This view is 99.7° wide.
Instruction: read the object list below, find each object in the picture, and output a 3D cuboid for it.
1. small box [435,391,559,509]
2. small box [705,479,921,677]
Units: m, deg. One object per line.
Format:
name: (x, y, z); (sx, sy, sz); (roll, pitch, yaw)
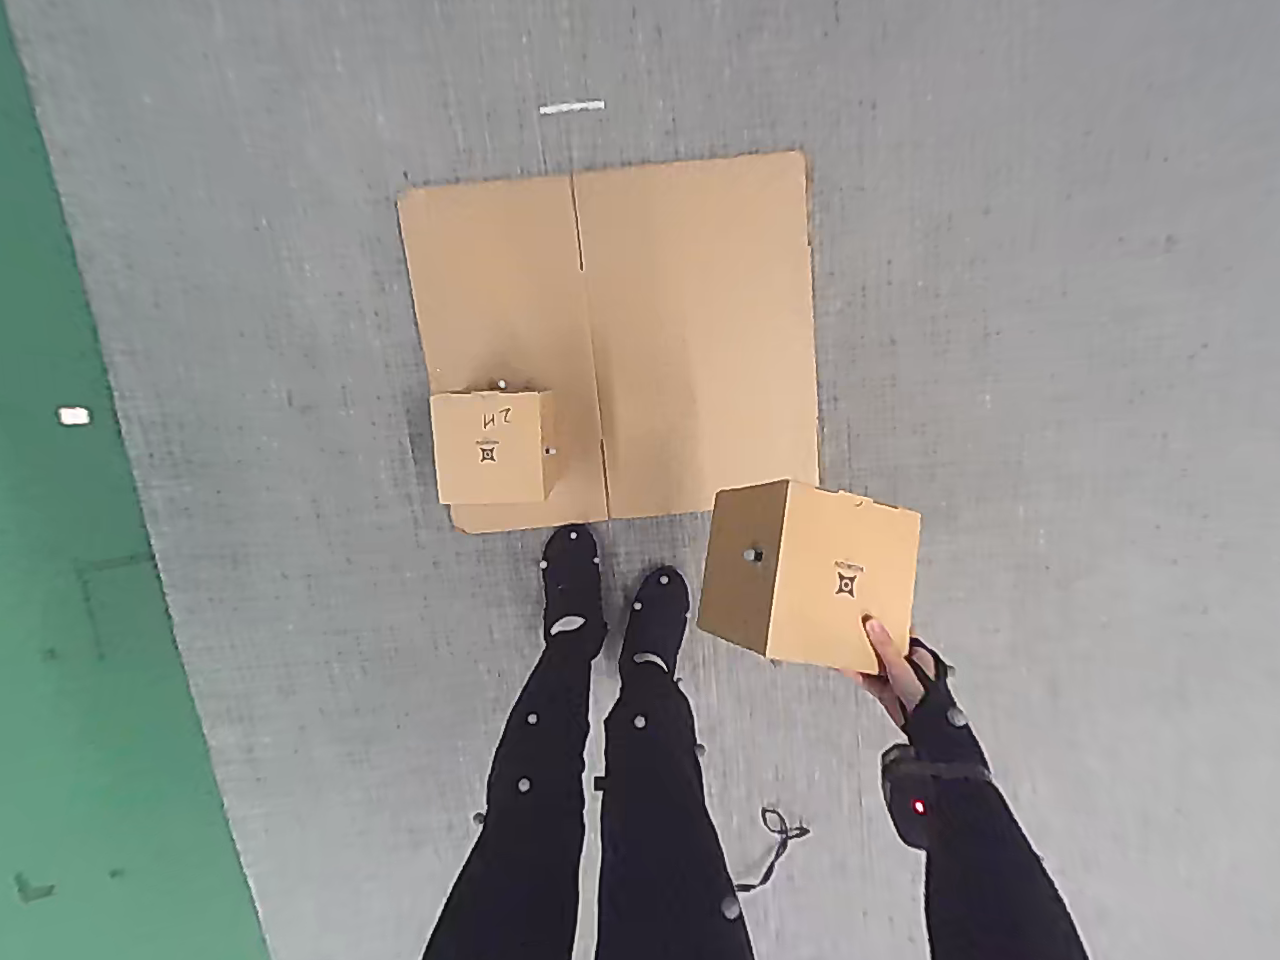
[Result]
small box: (-0.228, -0.056, 0.902); (0.168, 0.176, 0.179); (0, 100, -2)
small box: (0.187, 0.110, 0.621); (0.168, 0.176, 0.179); (13, 79, -15)
